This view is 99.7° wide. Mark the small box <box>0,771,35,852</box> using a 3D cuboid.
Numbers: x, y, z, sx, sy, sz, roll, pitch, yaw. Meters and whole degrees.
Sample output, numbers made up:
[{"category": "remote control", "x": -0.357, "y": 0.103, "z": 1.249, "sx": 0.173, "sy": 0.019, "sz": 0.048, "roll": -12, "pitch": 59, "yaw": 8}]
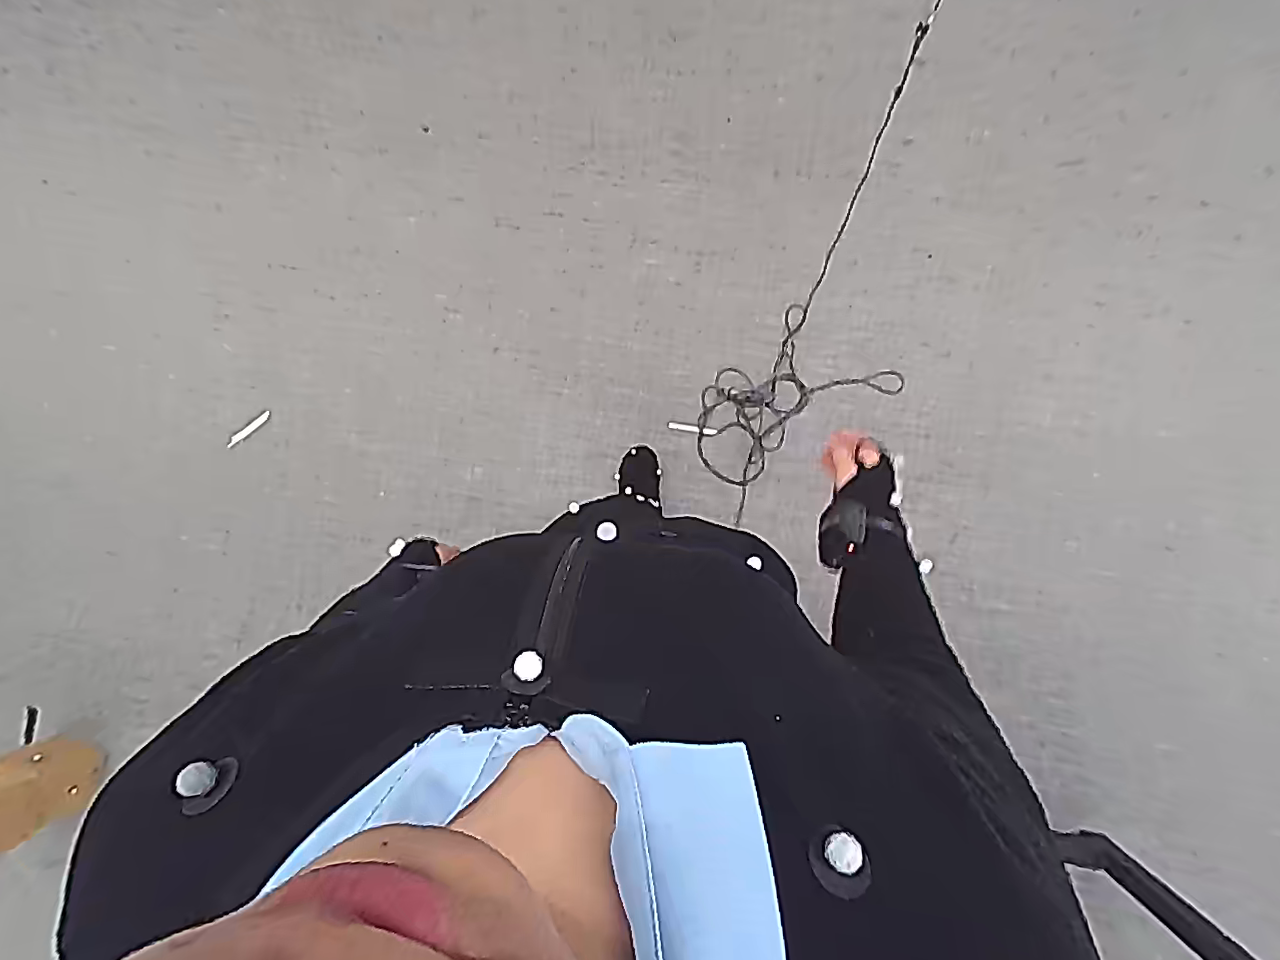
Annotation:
[{"category": "small box", "x": -1.721, "y": 0.868, "z": 1.384, "sx": 0.168, "sy": 0.176, "sz": 0.179, "roll": 3, "pitch": 89, "yaw": 5}]

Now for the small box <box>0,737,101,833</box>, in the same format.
[{"category": "small box", "x": -1.716, "y": 0.866, "z": 1.547, "sx": 0.179, "sy": 0.176, "sz": 0.168, "roll": 12, "pitch": 89, "yaw": 6}]
